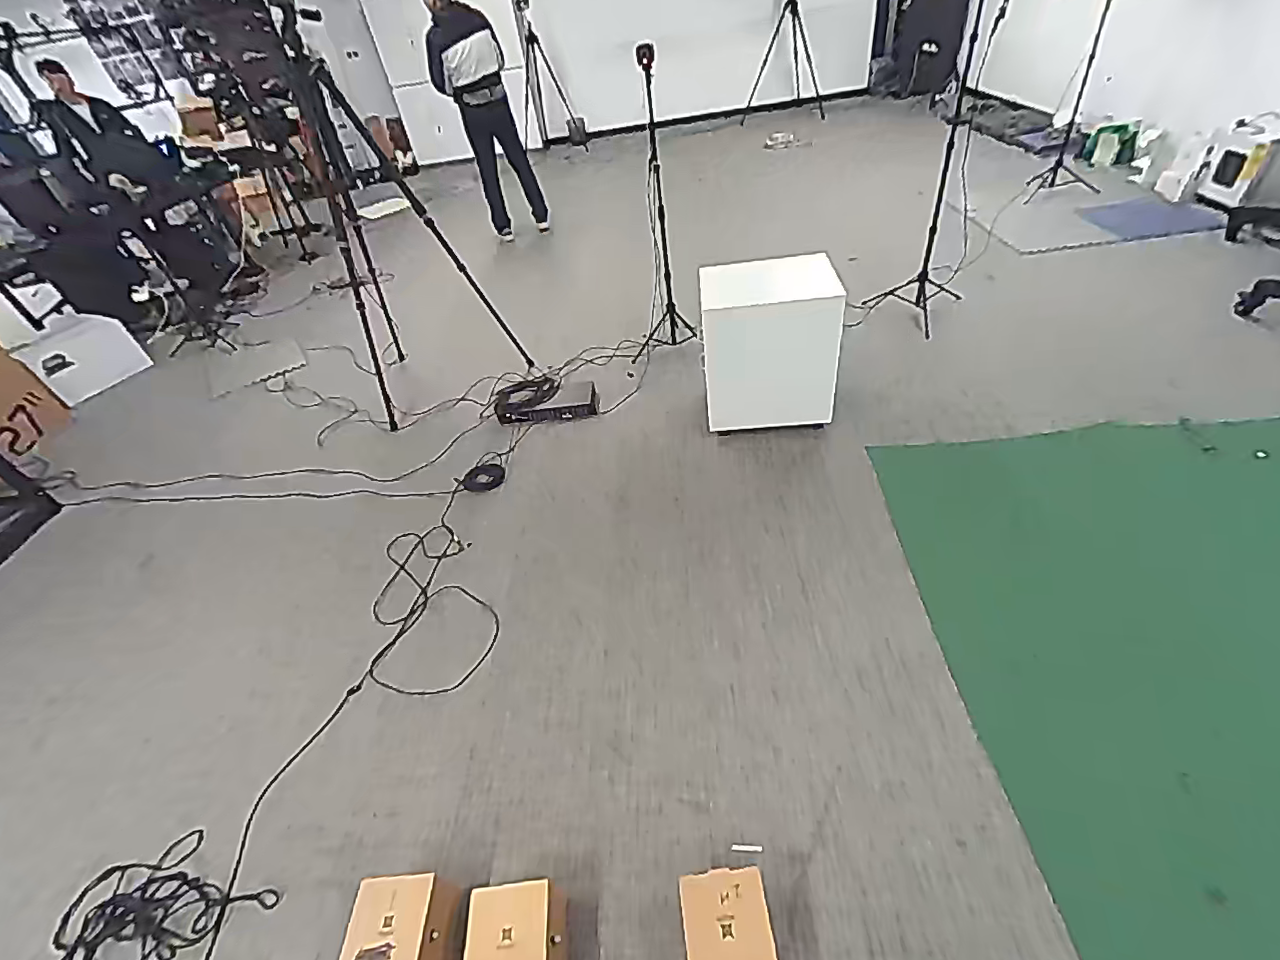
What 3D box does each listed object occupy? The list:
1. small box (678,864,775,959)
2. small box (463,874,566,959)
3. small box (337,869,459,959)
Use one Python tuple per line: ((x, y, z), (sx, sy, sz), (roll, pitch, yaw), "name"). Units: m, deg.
((0.172, 0.898, 1.081), (0.168, 0.176, 0.179), (-8, 43, 1), "small box")
((-0.252, 0.945, 1.112), (0.168, 0.176, 0.179), (-9, 43, 1), "small box")
((-0.504, 0.956, 1.148), (0.168, 0.176, 0.179), (-7, 42, 3), "small box")
